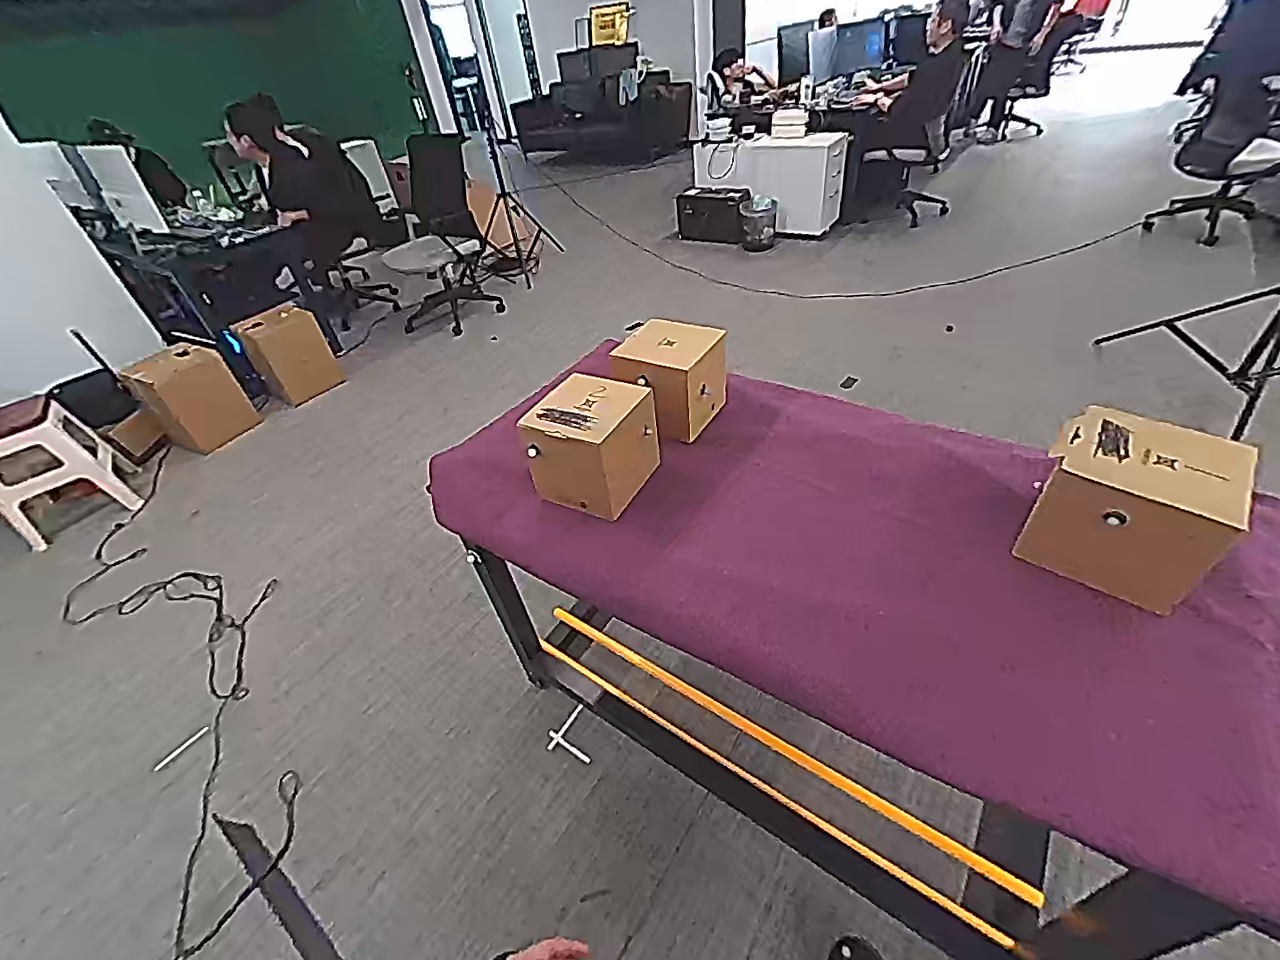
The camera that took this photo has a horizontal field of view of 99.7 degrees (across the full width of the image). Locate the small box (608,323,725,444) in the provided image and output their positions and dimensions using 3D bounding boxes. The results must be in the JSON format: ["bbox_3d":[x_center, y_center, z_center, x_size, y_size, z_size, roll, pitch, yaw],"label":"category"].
[{"bbox_3d":[0.061,-0.195,1.097,0.179,0.176,0.168,18,47,27],"label":"small box"}]

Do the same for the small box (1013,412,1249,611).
[{"bbox_3d":[0.639,0.041,0.722,0.179,0.176,0.168,27,53,33],"label":"small box"}]
